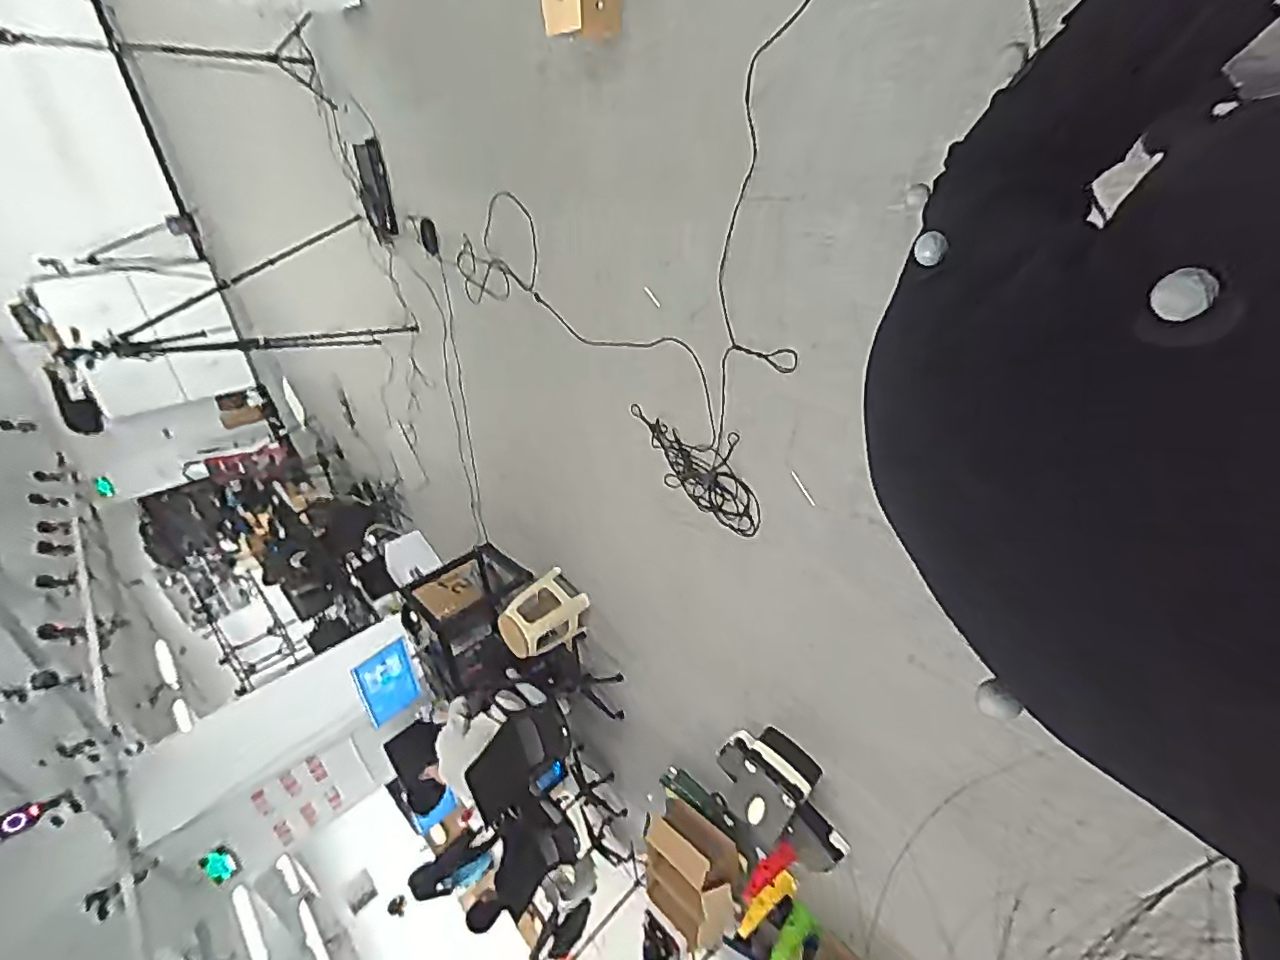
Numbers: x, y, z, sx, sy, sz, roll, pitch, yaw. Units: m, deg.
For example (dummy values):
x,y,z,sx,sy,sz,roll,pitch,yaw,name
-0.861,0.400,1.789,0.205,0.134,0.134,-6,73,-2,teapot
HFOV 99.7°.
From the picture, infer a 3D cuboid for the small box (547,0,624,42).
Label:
x,y,z,sx,sy,sz,roll,pitch,yaw,name
-0.161,-1.441,1.629,0.179,0.176,0.168,26,131,38,small box
